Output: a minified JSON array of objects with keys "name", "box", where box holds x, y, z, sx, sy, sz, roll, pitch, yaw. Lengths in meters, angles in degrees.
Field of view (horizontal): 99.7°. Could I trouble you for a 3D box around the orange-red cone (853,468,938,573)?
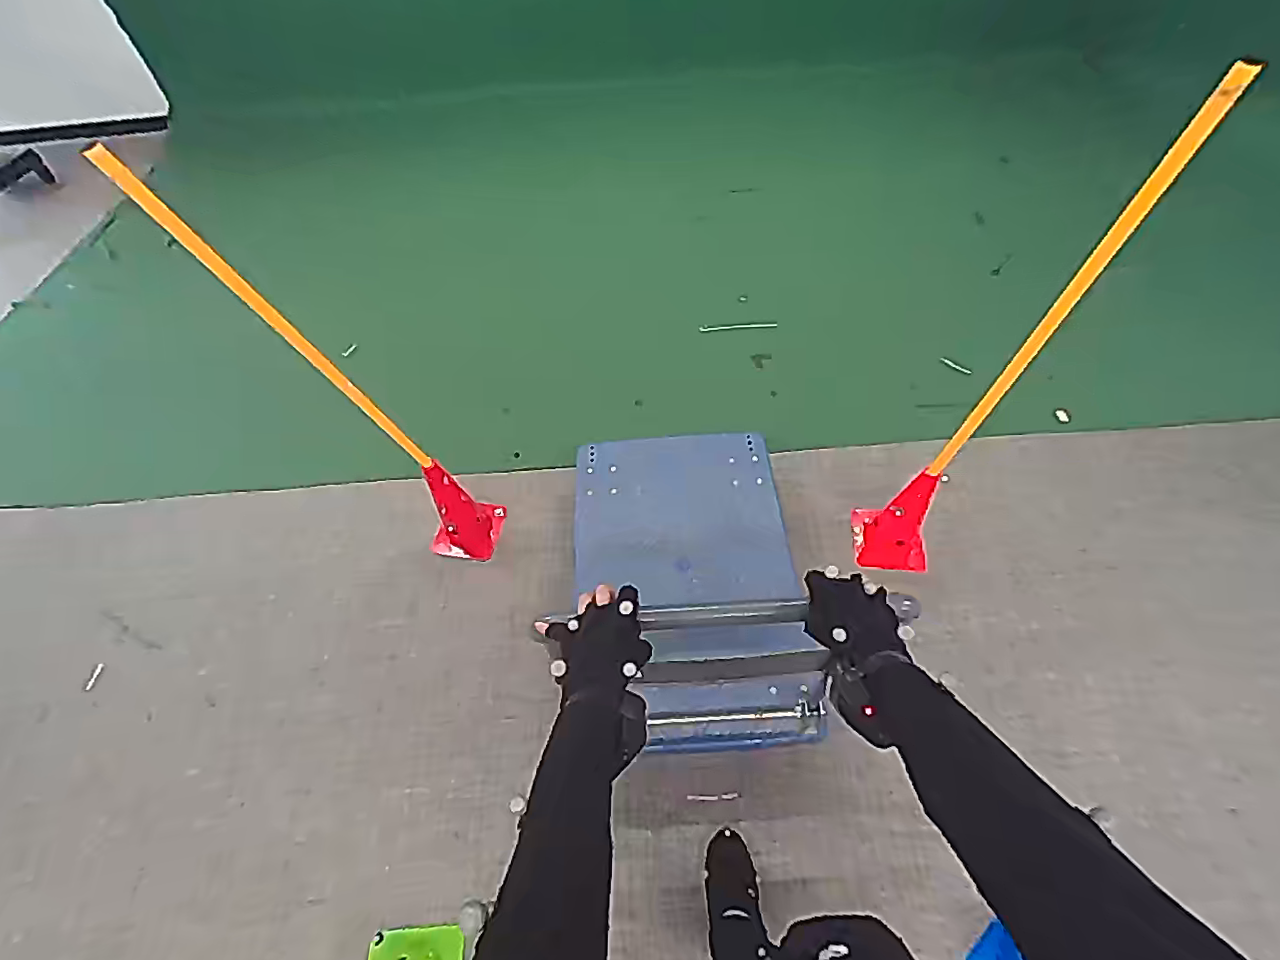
[{"name":"orange-red cone","box":[0.734,0.087,1.482,0.198,0.360,0.199,5,56,8]}]
